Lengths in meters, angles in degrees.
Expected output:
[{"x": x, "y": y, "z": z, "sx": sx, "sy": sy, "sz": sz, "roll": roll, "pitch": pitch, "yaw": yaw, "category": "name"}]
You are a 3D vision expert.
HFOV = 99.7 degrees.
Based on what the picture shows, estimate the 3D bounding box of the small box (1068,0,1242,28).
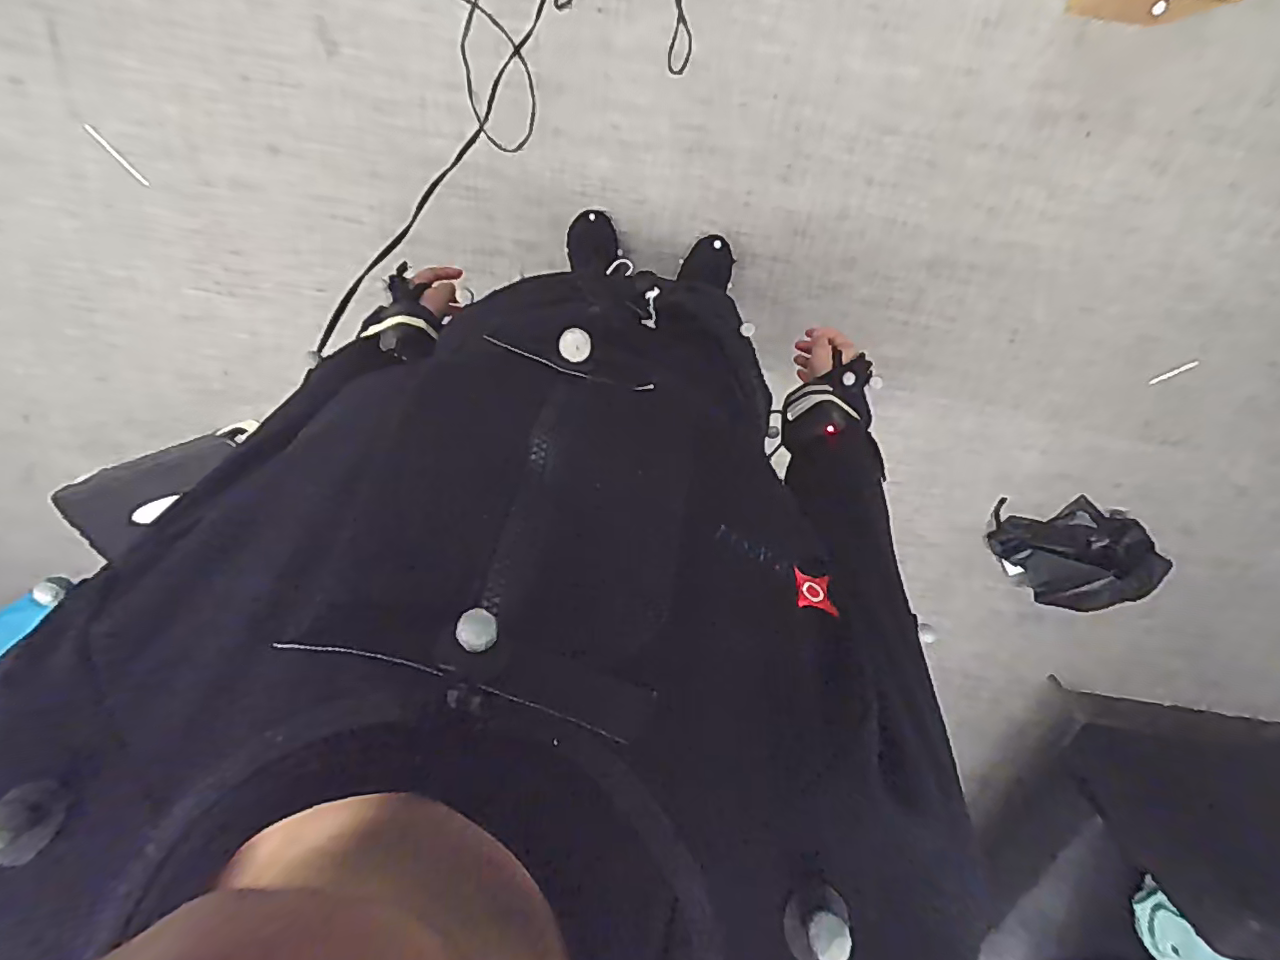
[{"x": 0.854, "y": -0.852, "z": 0.863, "sx": 0.179, "sy": 0.176, "sz": 0.168, "roll": 8, "pitch": 119, "yaw": 0, "category": "small box"}]
